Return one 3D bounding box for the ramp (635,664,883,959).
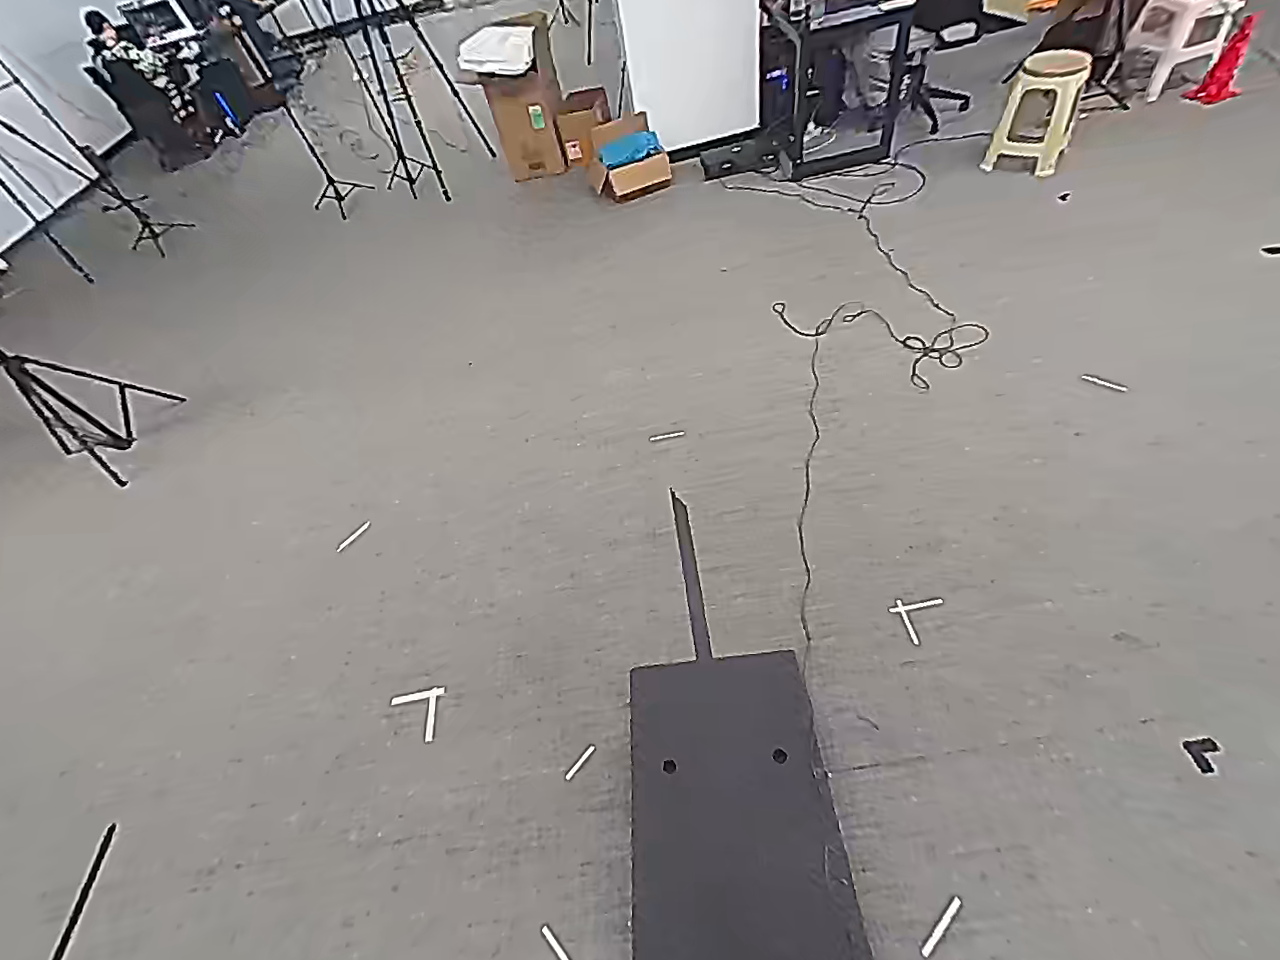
[{"bbox_3d":[0.240,0.900,1.223,0.509,0.206,0.991,-12,49,5],"label":"ramp"}]
